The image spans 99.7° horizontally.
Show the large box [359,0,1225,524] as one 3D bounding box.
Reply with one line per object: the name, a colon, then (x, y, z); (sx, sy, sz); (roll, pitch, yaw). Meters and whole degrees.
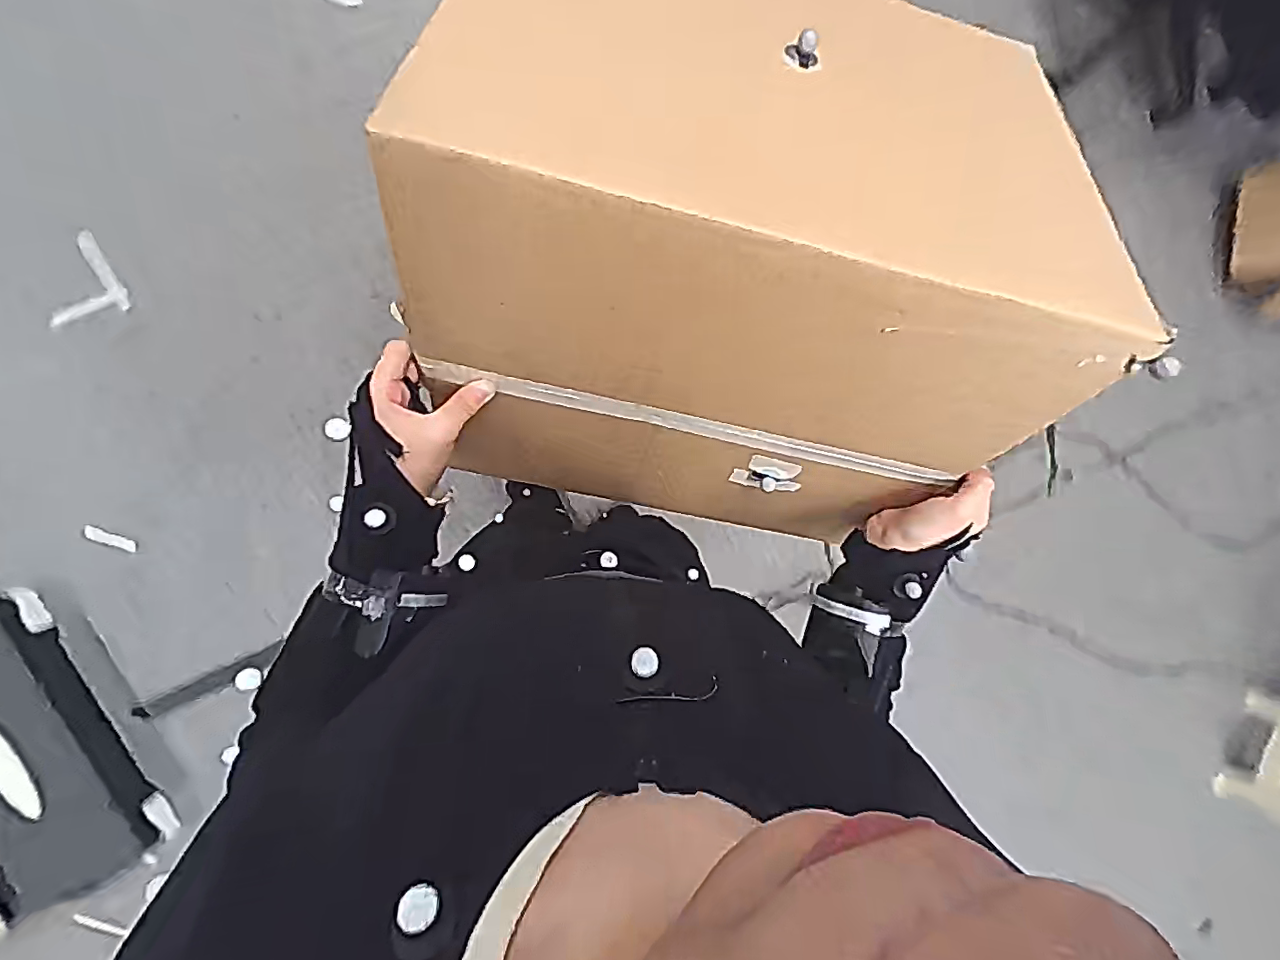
large box: (0.068, -0.187, 0.433); (0.408, 0.320, 0.320); (9, 63, -7)
